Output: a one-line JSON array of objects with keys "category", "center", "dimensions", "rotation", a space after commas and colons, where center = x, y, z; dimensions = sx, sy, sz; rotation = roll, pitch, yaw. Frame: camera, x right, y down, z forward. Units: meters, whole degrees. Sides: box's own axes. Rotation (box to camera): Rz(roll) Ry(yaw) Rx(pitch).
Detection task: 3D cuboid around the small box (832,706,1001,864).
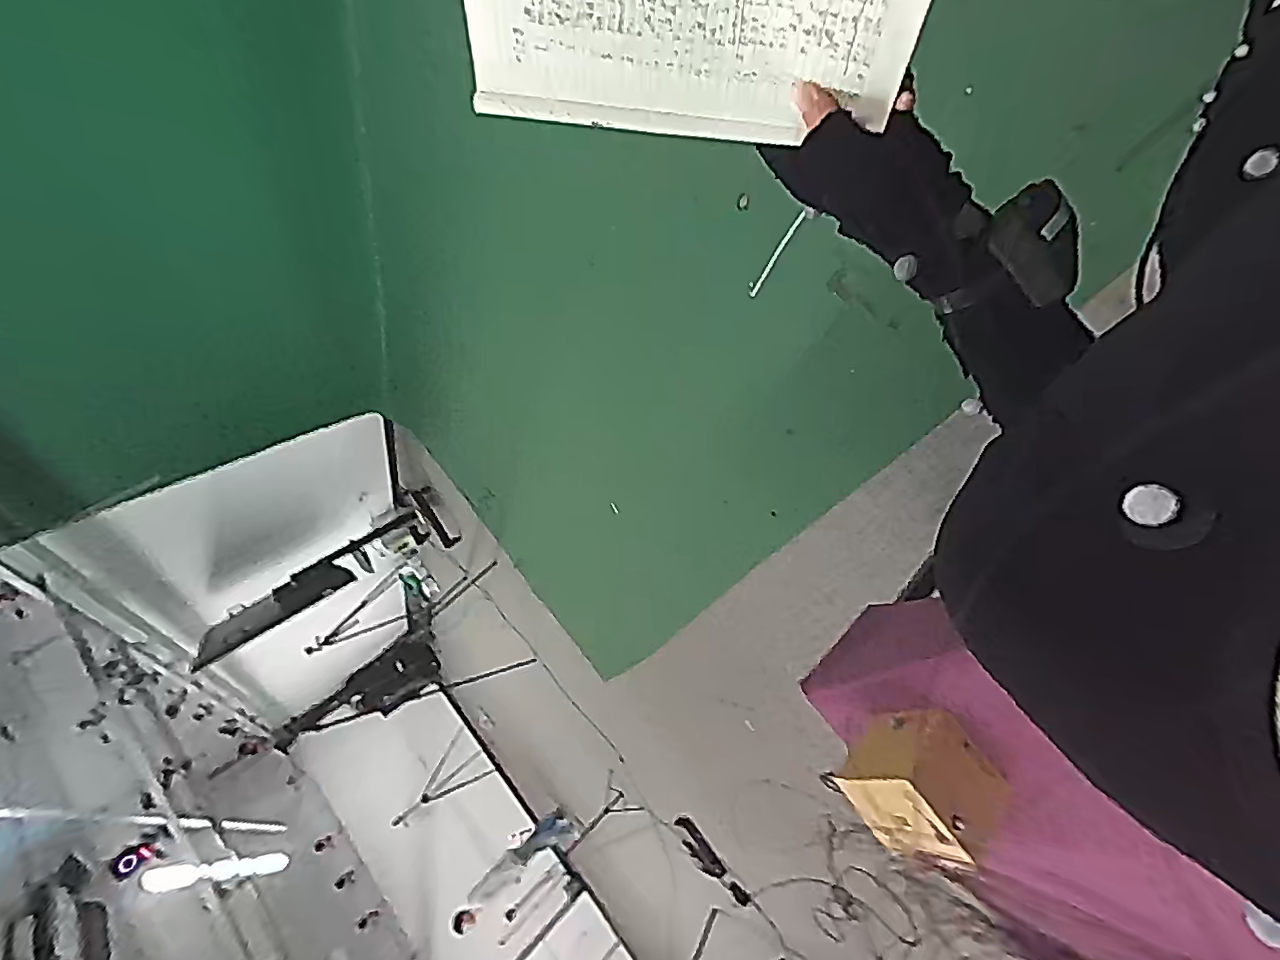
[{"category": "small box", "center": [0.486, 0.524, 0.953], "dimensions": [0.168, 0.176, 0.179], "rotation": [52, 145, 6]}]
